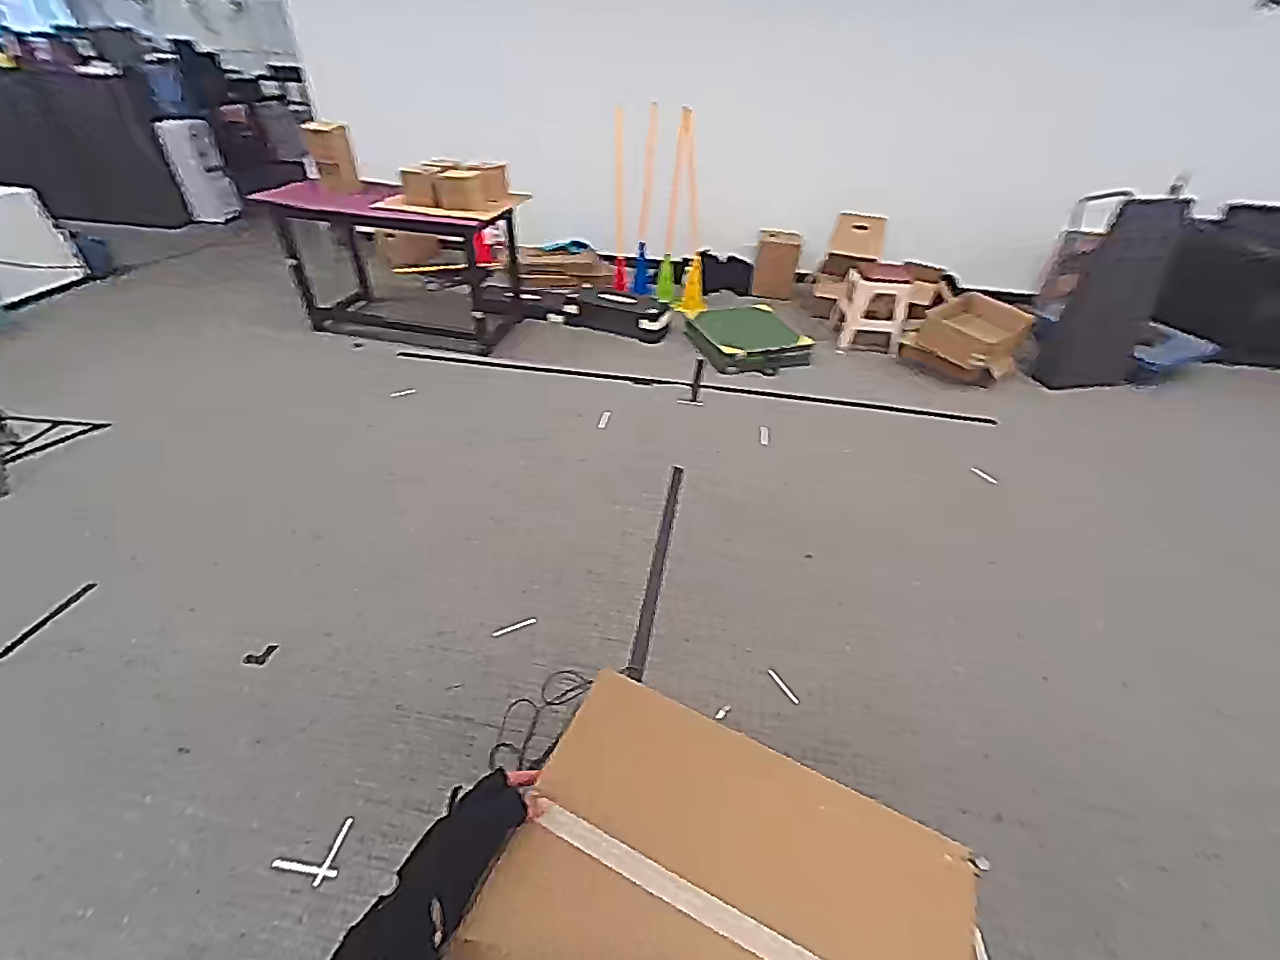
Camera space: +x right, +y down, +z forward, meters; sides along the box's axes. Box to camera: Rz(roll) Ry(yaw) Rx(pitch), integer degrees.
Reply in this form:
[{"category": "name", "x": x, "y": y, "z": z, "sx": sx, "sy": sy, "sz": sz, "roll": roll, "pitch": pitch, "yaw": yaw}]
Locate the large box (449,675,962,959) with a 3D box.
[{"category": "large box", "x": 0.061, "y": 0.491, "z": 0.584, "sx": 0.408, "sy": 0.320, "sz": 0.320, "roll": 22, "pitch": 47, "yaw": 15}]
